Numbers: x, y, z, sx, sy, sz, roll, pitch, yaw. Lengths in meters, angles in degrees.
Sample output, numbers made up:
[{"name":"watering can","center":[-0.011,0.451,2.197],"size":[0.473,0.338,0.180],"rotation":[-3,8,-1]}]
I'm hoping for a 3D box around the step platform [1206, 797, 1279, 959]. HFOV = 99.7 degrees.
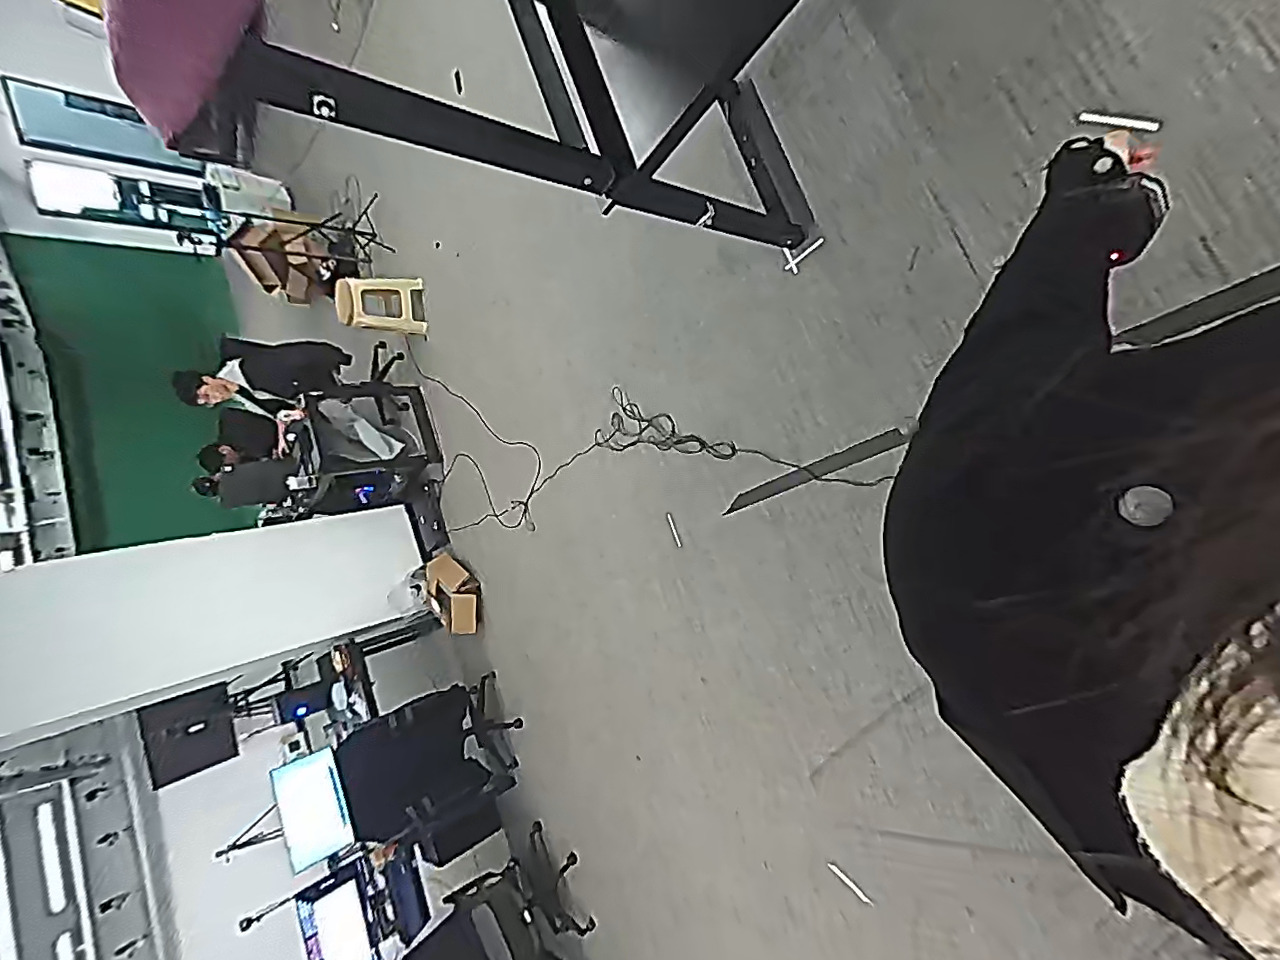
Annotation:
[{"name":"step platform","center":[1.333,0.714,0.794],"size":[0.684,0.204,0.286],"rotation":[-21,83,47]}]
